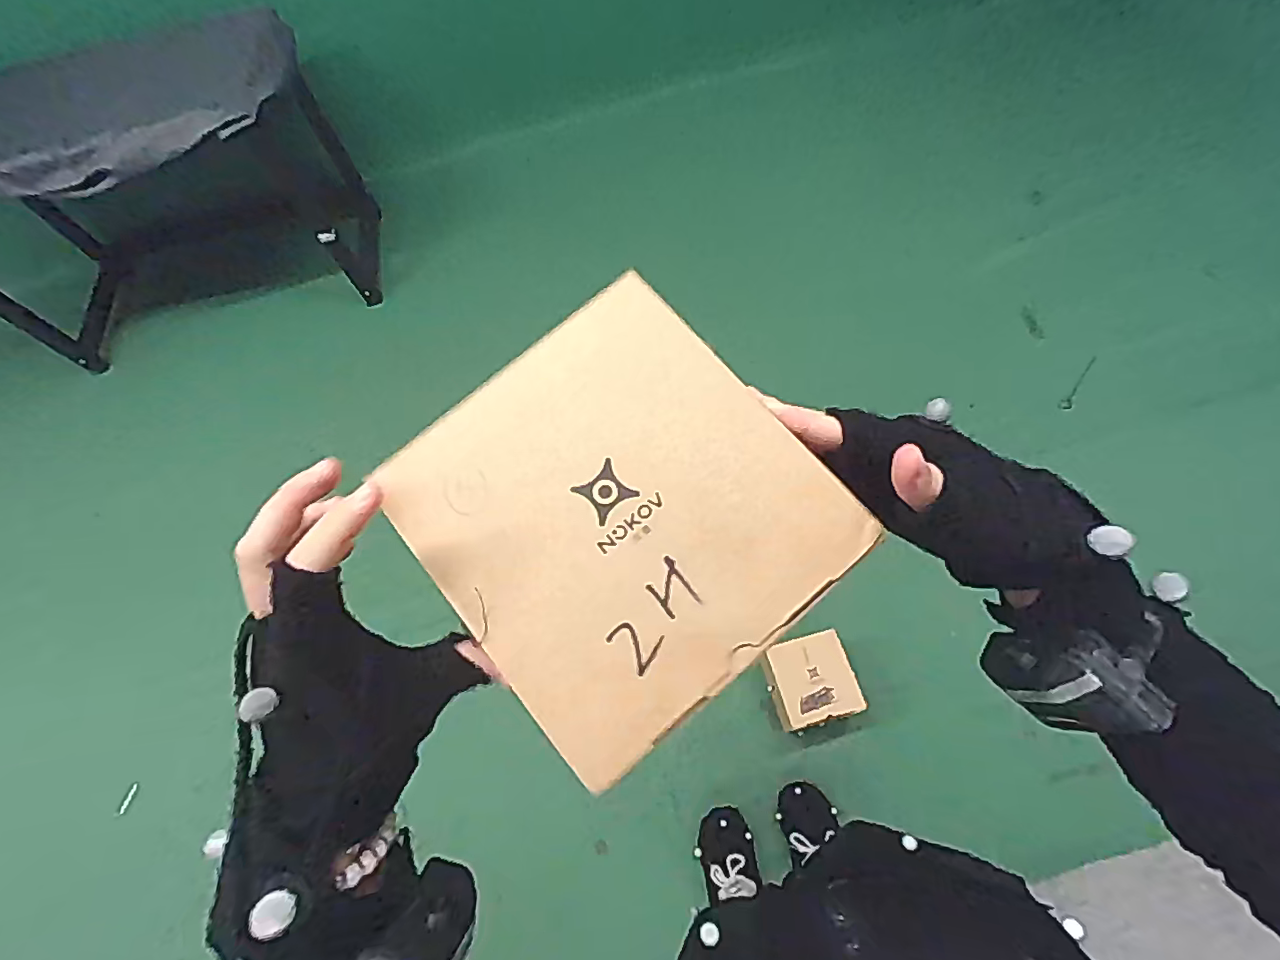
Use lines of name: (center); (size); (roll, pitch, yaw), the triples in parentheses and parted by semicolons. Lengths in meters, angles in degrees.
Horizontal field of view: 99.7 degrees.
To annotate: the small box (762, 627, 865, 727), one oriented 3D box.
small box: (0.390, 0.460, 1.247); (0.168, 0.176, 0.179); (-16, 61, 0)
